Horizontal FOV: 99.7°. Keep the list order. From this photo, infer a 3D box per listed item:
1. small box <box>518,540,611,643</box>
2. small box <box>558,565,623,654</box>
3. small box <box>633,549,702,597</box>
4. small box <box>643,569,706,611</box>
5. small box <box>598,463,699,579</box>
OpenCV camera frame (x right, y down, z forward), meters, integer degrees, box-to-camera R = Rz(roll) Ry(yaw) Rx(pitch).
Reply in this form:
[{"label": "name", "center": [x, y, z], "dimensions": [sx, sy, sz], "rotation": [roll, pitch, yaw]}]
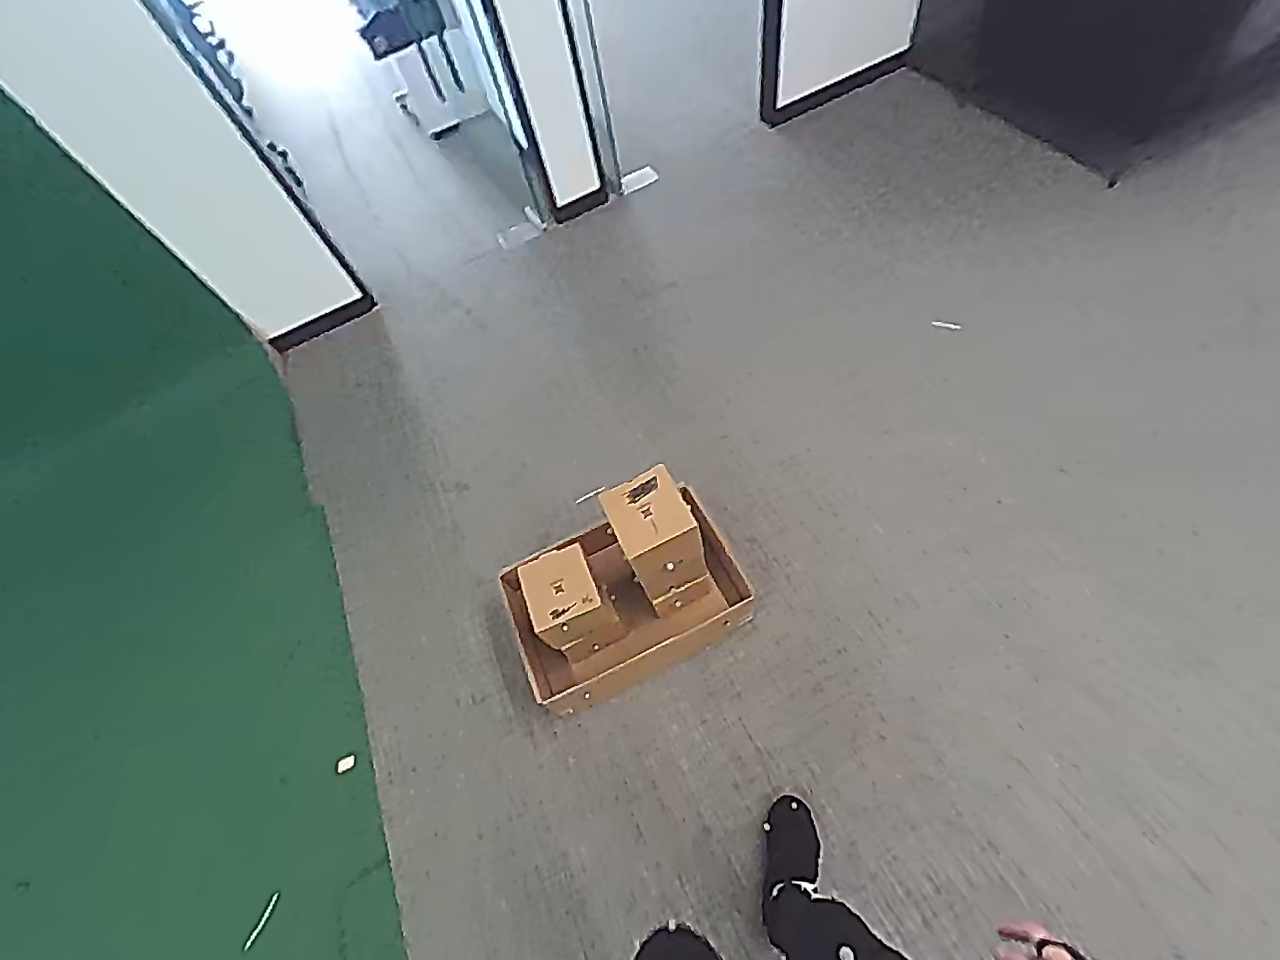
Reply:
[{"label": "small box", "center": [-0.186, 0.283, 1.353], "dimensions": [0.168, 0.176, 0.179], "rotation": [-22, 59, -4]}, {"label": "small box", "center": [-0.160, 0.364, 1.494], "dimensions": [0.168, 0.176, 0.179], "rotation": [-26, 60, -8]}, {"label": "small box", "center": [0.049, 0.172, 1.383], "dimensions": [0.168, 0.176, 0.179], "rotation": [-25, 60, -3]}, {"label": "small box", "center": [0.076, 0.253, 1.523], "dimensions": [0.168, 0.176, 0.179], "rotation": [-26, 60, -6]}, {"label": "small box", "center": [0.024, 0.098, 1.239], "dimensions": [0.168, 0.176, 0.179], "rotation": [-26, 61, -3]}]
